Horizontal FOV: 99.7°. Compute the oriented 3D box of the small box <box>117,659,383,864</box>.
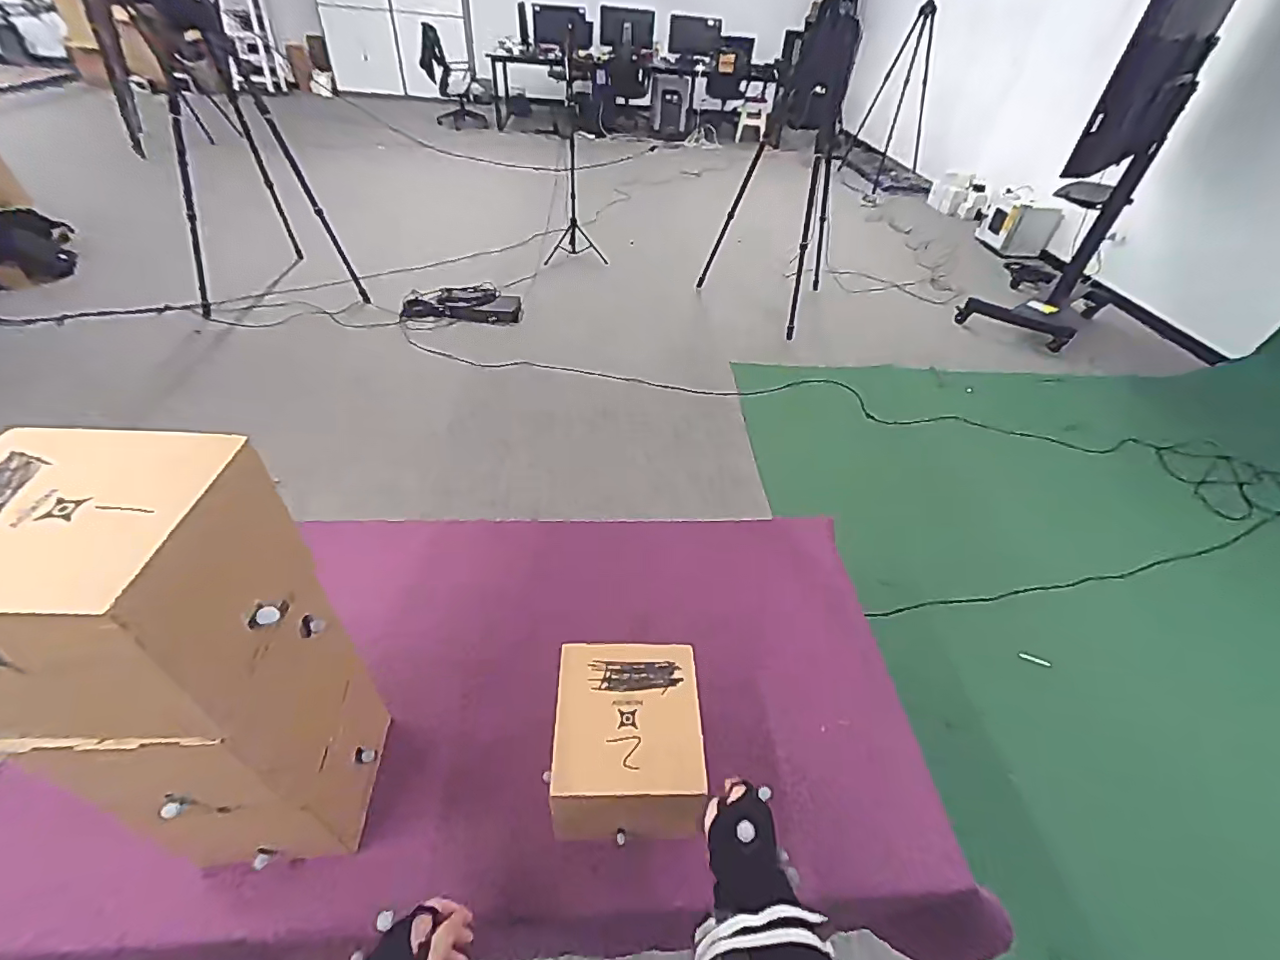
[{"bbox_3d":[-0.422,0.327,0.631,0.179,0.176,0.168,0,42,-7],"label":"small box"}]

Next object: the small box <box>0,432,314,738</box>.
[{"bbox_3d":[-0.393,0.081,0.413,0.179,0.176,0.168,2,43,-5],"label":"small box"}]

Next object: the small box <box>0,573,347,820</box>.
[{"bbox_3d":[-0.410,0.203,0.523,0.168,0.176,0.179,0,43,-5],"label":"small box"}]
